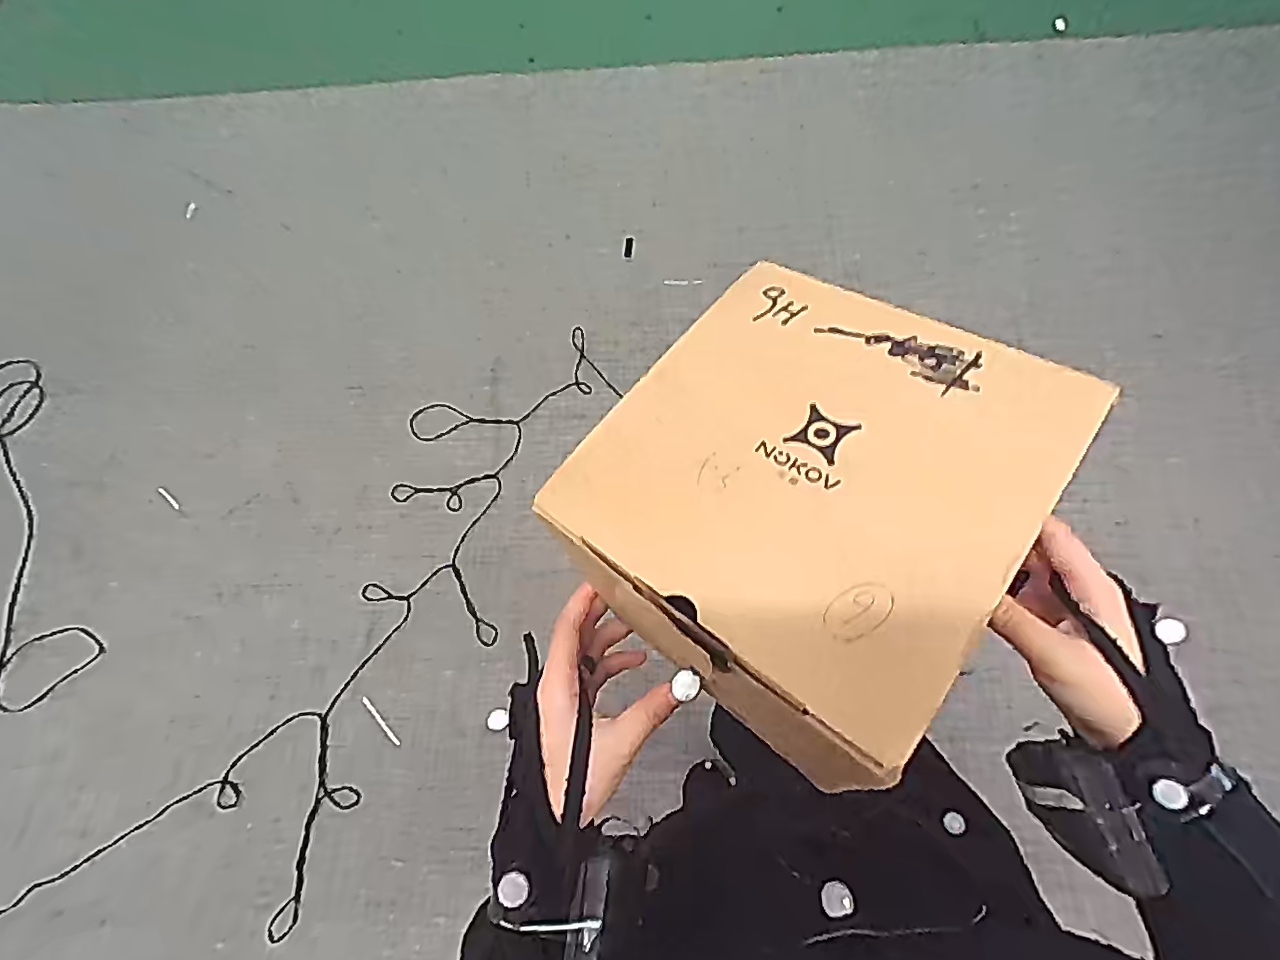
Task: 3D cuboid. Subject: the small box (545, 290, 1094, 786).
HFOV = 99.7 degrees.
[{"bbox_3d":[0.085,0.038,0.297,0.168,0.176,0.179,33,71,27],"label":"small box"}]
